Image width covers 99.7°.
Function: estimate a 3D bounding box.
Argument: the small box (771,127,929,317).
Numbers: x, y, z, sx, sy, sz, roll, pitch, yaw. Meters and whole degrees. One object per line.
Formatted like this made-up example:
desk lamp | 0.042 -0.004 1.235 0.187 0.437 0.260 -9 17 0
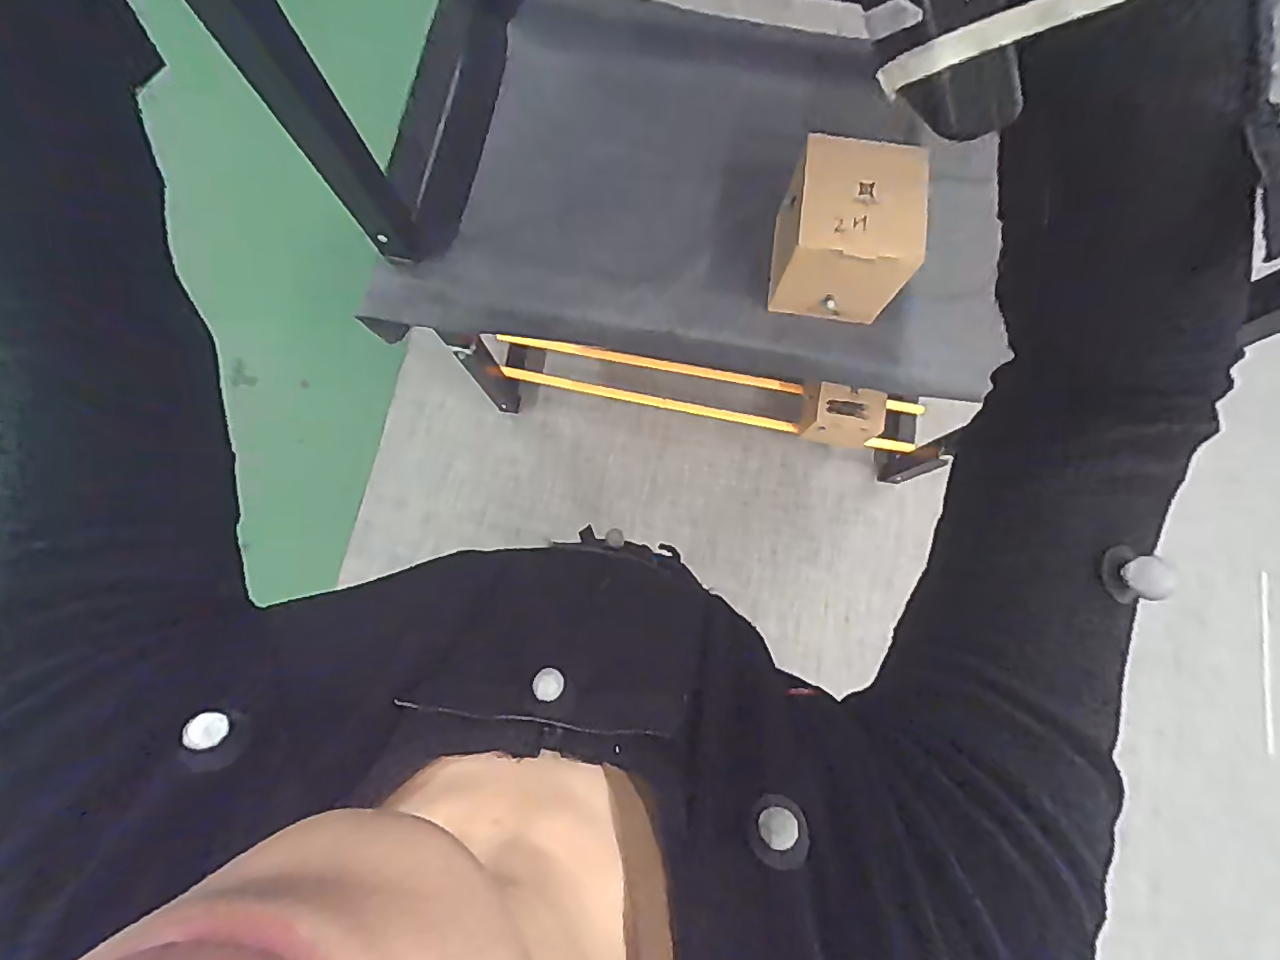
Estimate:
small box | 0.297 -0.367 0.792 0.168 0.176 0.179 8 78 1
